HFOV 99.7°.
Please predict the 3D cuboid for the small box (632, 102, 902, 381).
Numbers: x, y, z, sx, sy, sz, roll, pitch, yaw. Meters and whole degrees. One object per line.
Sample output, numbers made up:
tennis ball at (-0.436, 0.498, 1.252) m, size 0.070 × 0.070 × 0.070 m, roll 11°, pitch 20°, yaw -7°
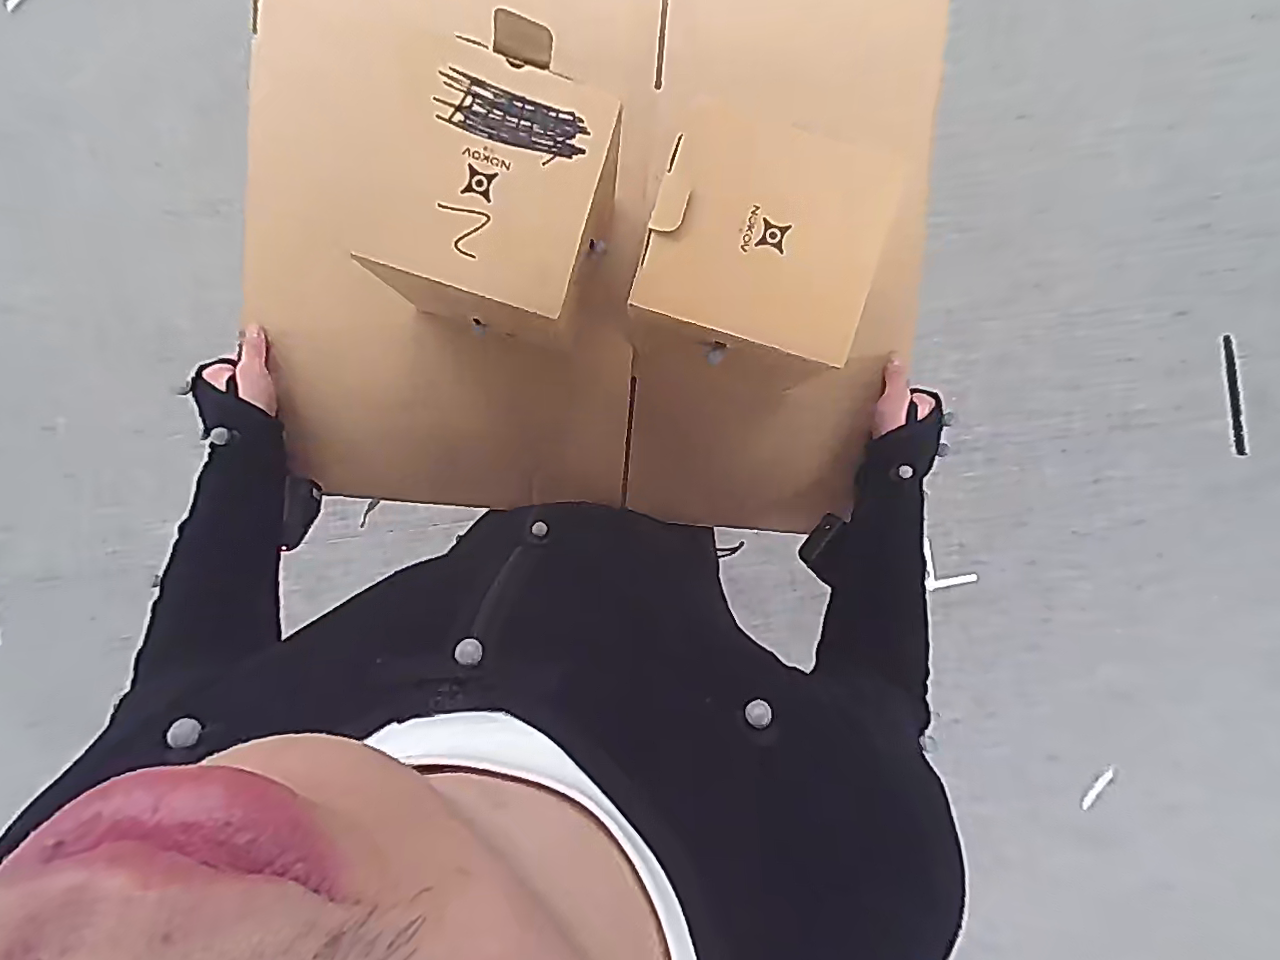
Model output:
small box at (0.102, -0.198, 0.506) m, size 0.179 × 0.176 × 0.168 m, roll 17°, pitch 93°, yaw 1°
